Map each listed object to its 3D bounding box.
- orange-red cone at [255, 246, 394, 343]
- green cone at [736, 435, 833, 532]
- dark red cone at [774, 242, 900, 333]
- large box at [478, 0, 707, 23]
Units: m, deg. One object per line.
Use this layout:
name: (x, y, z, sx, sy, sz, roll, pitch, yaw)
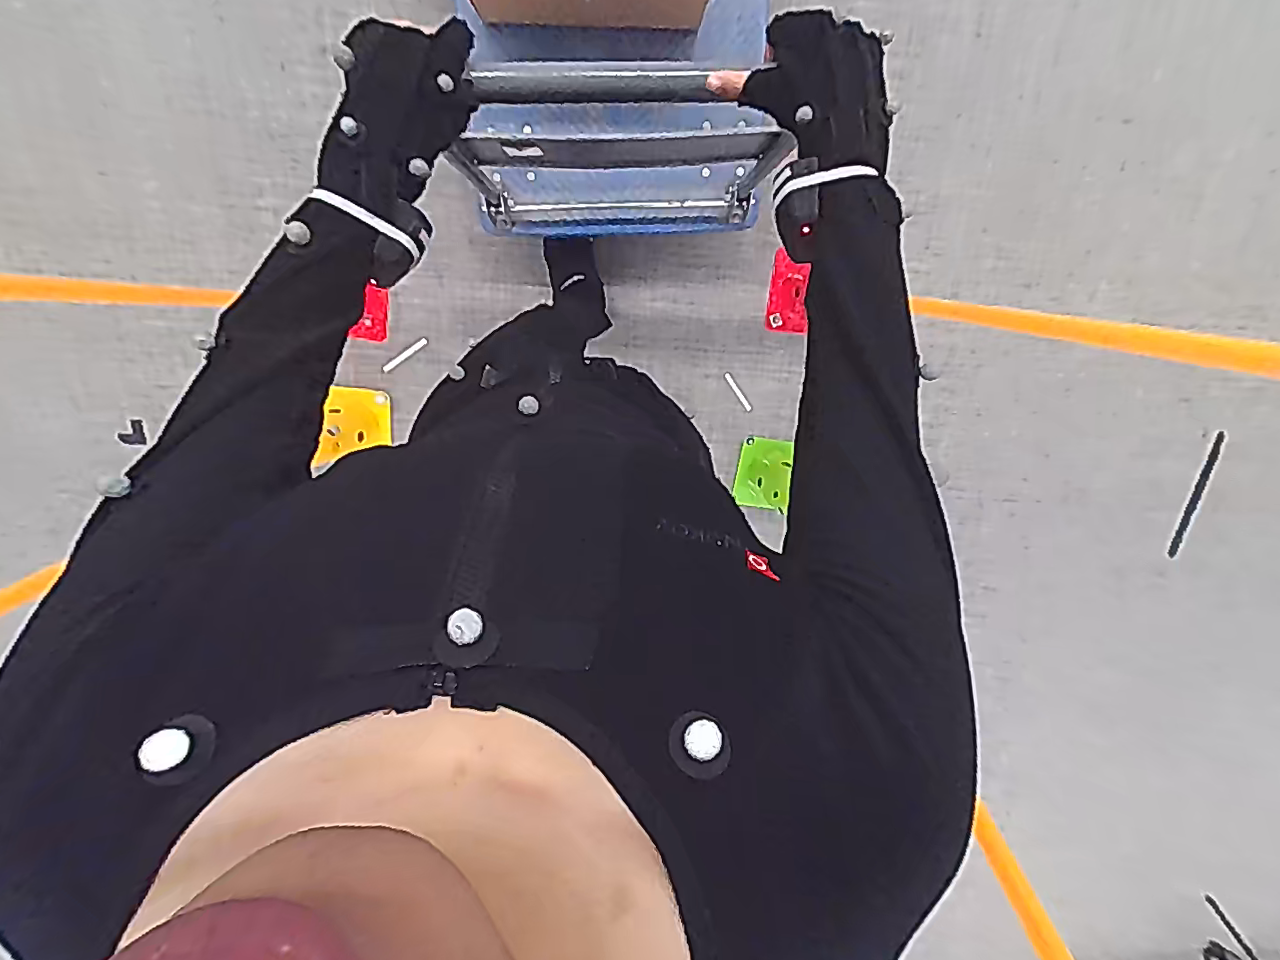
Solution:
orange-red cone: (-0.694, -0.392, 1.152, 0.198, 0.360, 0.199, 10, 108, -6)
green cone: (0.387, 0.039, 1.340, 0.202, 0.368, 0.200, 6, 110, -5)
dark red cone: (0.440, -0.409, 1.161, 0.201, 0.394, 0.202, 2, 110, -5)
large box: (-0.082, -0.940, 0.816, 0.408, 0.320, 0.320, 0, 111, -1)
